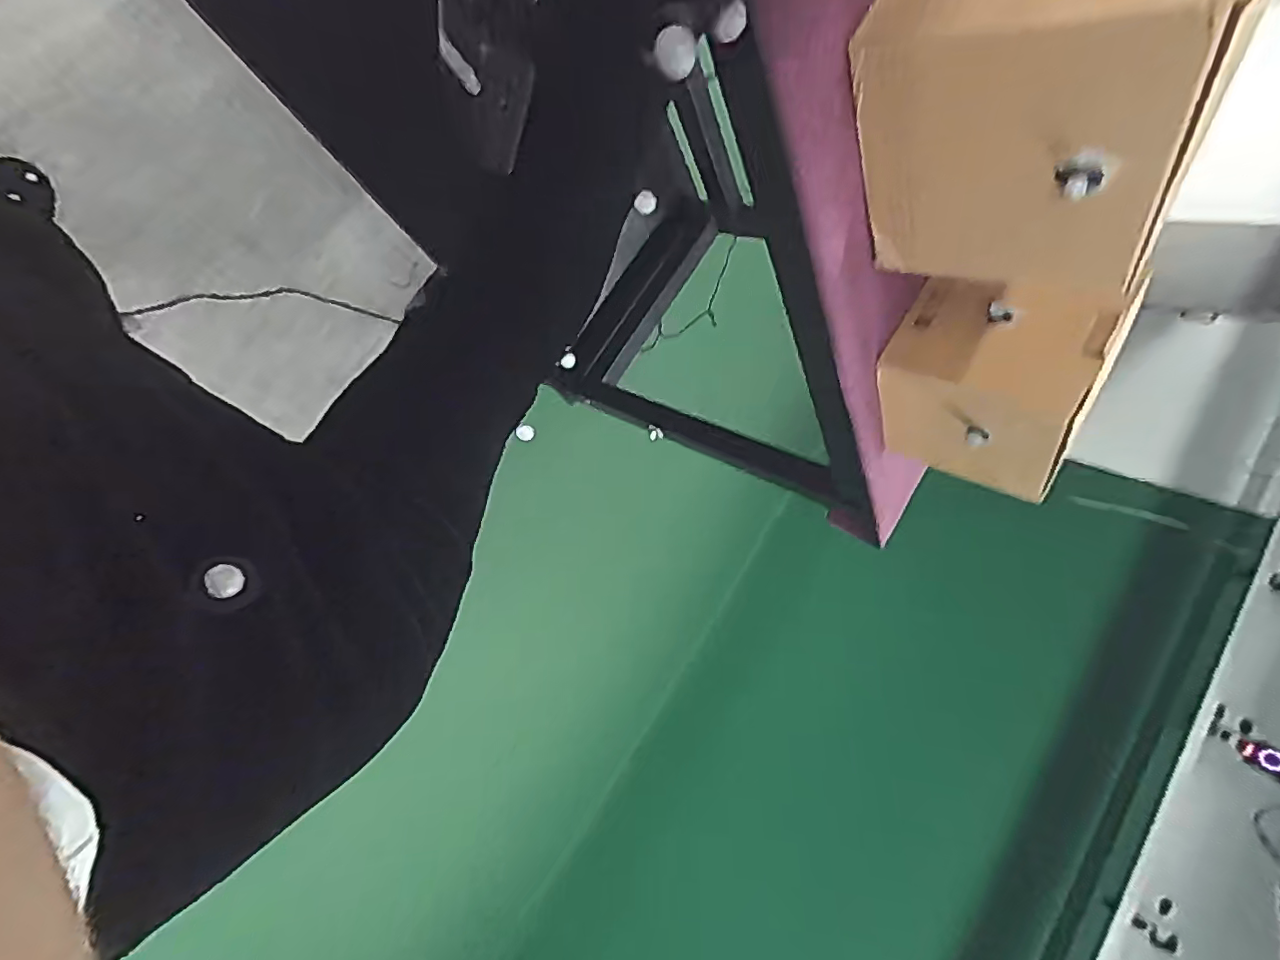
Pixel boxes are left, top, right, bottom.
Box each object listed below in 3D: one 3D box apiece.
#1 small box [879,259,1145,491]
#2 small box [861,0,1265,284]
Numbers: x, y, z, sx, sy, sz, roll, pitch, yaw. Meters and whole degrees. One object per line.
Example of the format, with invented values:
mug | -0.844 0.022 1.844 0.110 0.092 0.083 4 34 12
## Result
small box | 0.368 -0.118 0.564 0.168 0.176 0.179 -56 143 -9
small box | 0.254 -0.253 0.336 0.168 0.176 0.179 -58 145 -8
